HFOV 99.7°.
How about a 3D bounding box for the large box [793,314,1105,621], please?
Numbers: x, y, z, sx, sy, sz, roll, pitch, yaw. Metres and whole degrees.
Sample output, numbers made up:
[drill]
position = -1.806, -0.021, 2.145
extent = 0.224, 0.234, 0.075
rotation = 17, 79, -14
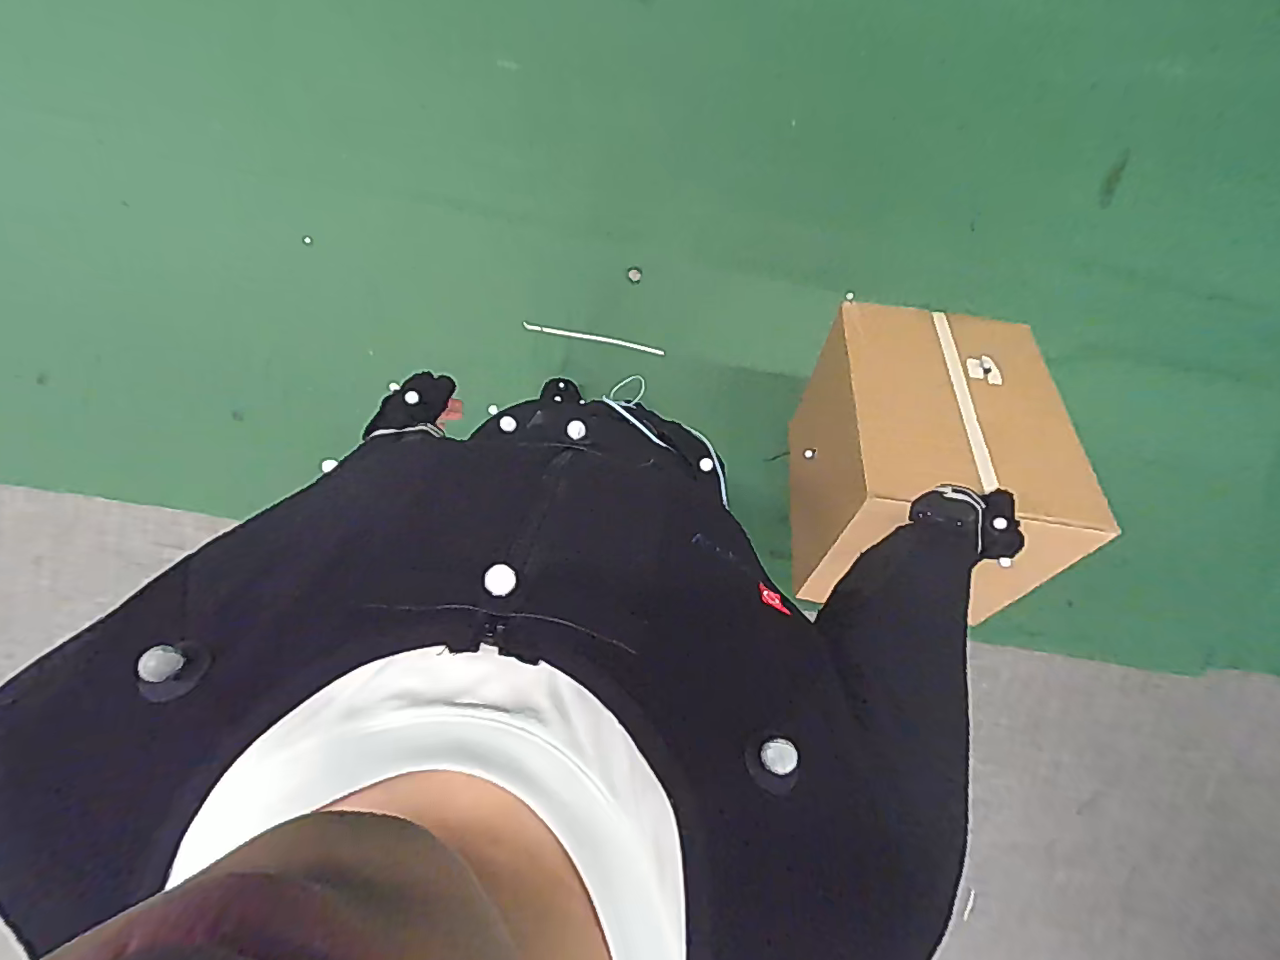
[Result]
[large box]
position = 0.456, -0.020, 0.921
extent = 0.320, 0.408, 0.320
rotation = 9, 143, 2
